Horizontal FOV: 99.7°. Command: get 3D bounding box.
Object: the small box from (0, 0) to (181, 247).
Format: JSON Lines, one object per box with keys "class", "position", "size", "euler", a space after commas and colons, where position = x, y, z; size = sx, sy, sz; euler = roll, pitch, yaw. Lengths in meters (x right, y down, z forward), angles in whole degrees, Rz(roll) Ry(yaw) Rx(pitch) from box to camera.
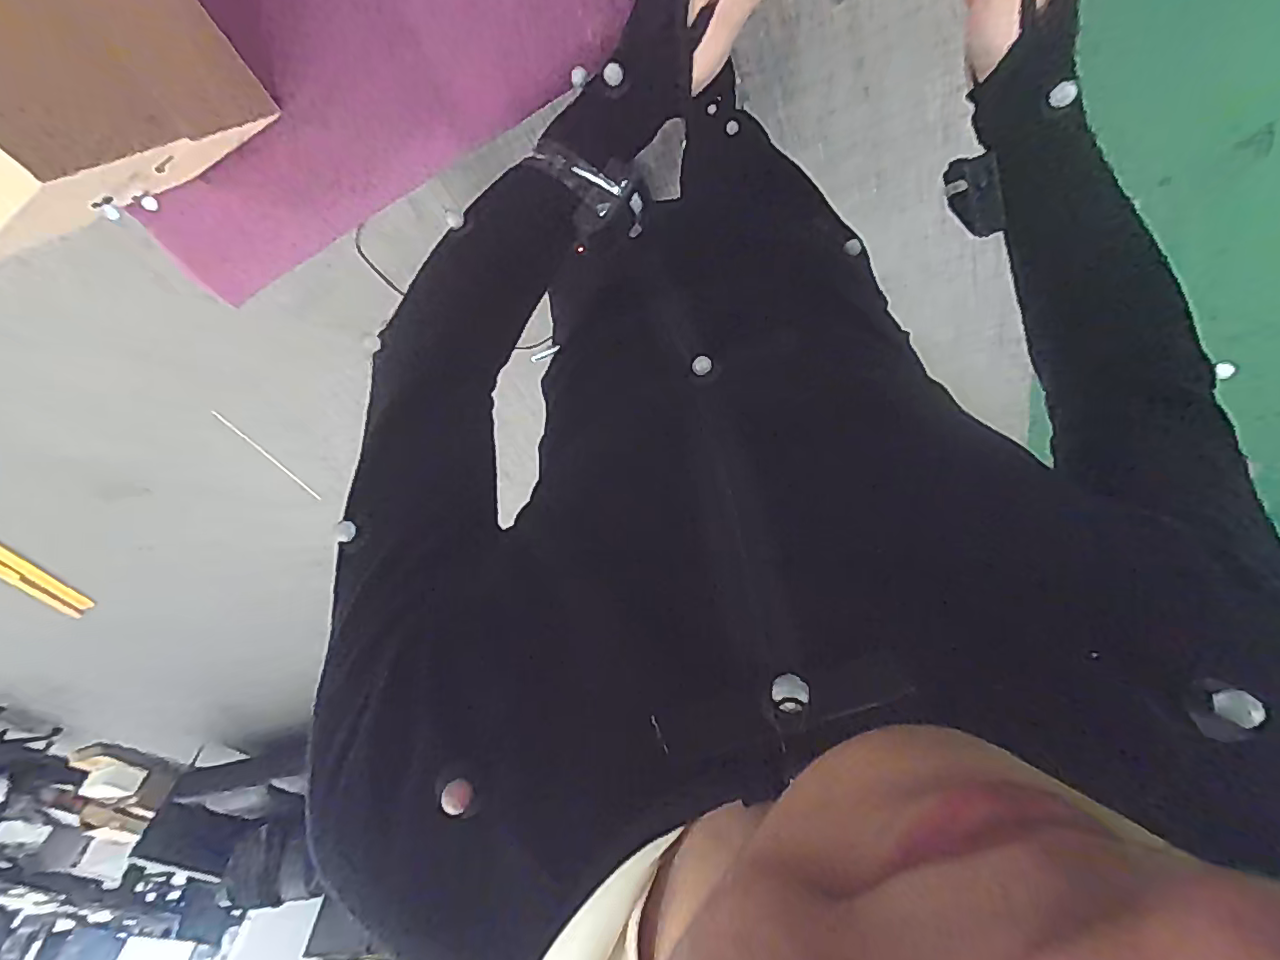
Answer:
{"class": "small box", "position": [-0.540, -0.306, 0.429], "size": [0.168, 0.176, 0.179], "euler": [-20, 129, 20]}
